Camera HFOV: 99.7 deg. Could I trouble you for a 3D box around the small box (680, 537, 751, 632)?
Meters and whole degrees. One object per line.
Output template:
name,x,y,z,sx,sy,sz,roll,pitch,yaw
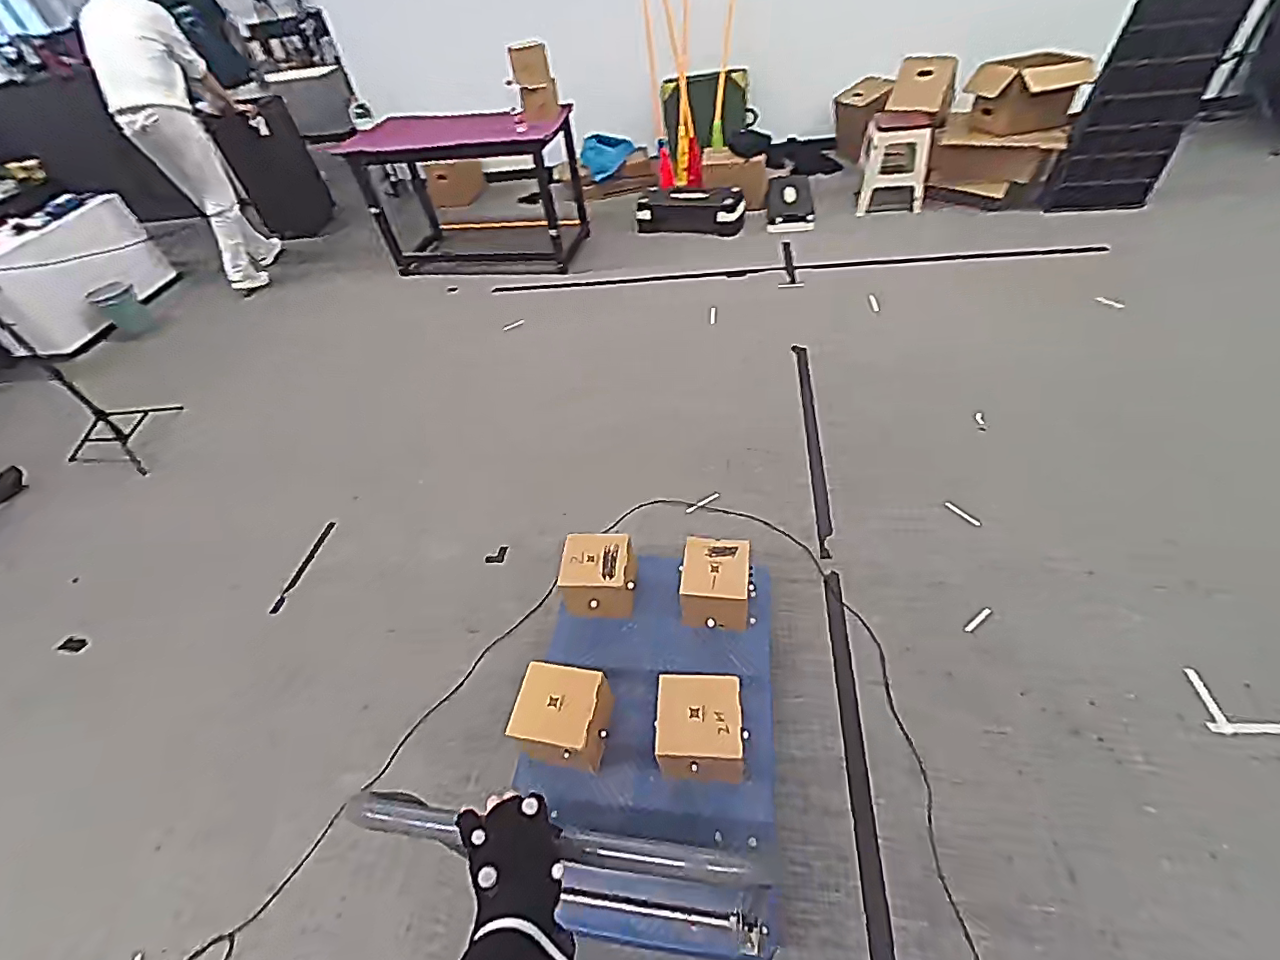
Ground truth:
small box,0.200,0.273,1.417,0.168,0.176,0.179,3,49,11

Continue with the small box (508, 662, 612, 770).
small box,-0.172,0.538,1.228,0.179,0.176,0.168,5,48,11

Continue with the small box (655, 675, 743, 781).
small box,0.133,0.540,1.176,0.179,0.176,0.168,-1,47,8
